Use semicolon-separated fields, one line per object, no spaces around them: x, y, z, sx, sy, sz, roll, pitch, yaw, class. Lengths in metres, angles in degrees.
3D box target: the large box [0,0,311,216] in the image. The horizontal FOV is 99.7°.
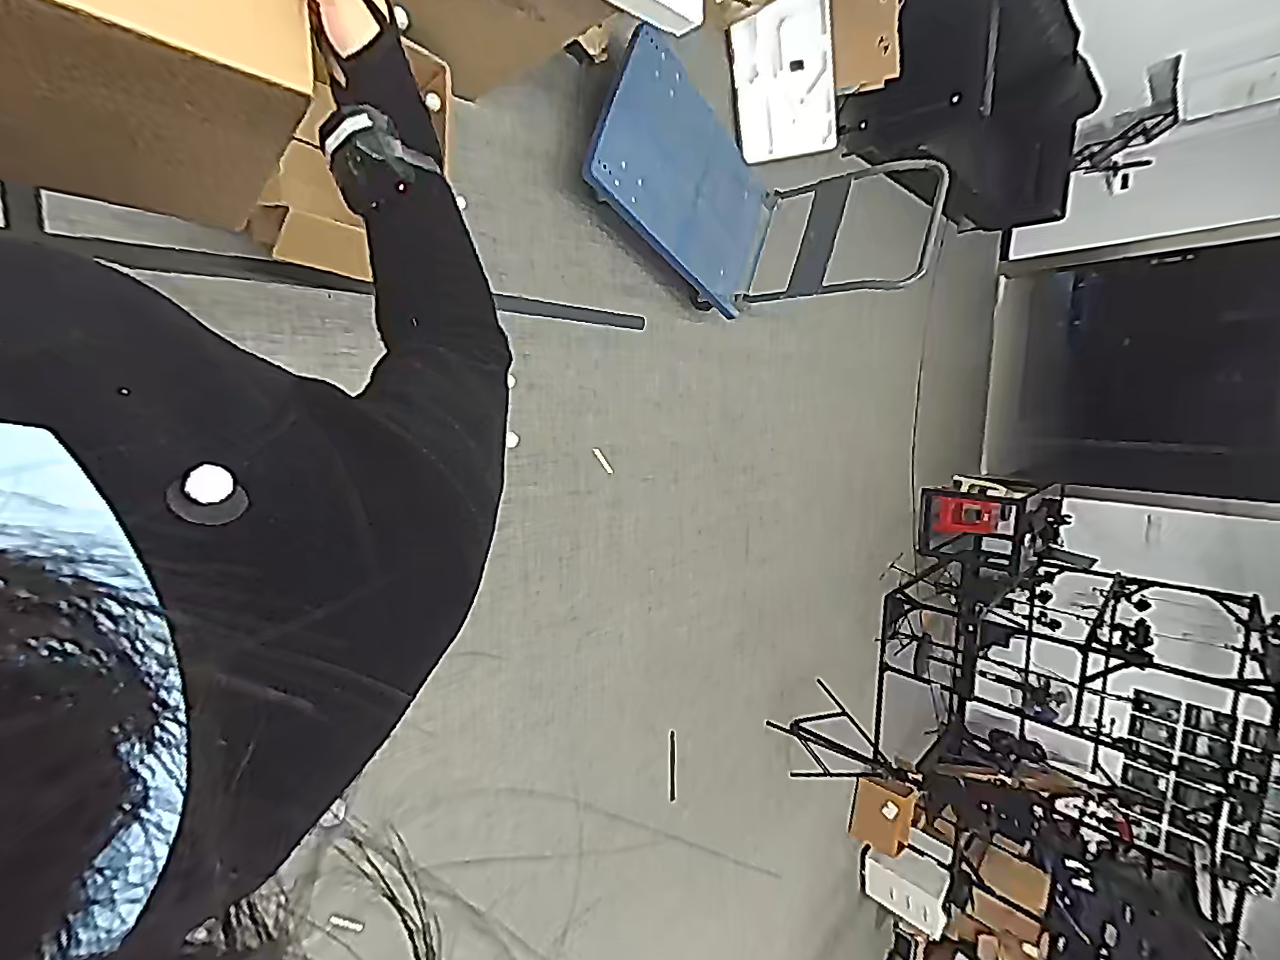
-0.516;-0.436;0.385;0.408;0.320;0.320;-8;94;-45;large box
